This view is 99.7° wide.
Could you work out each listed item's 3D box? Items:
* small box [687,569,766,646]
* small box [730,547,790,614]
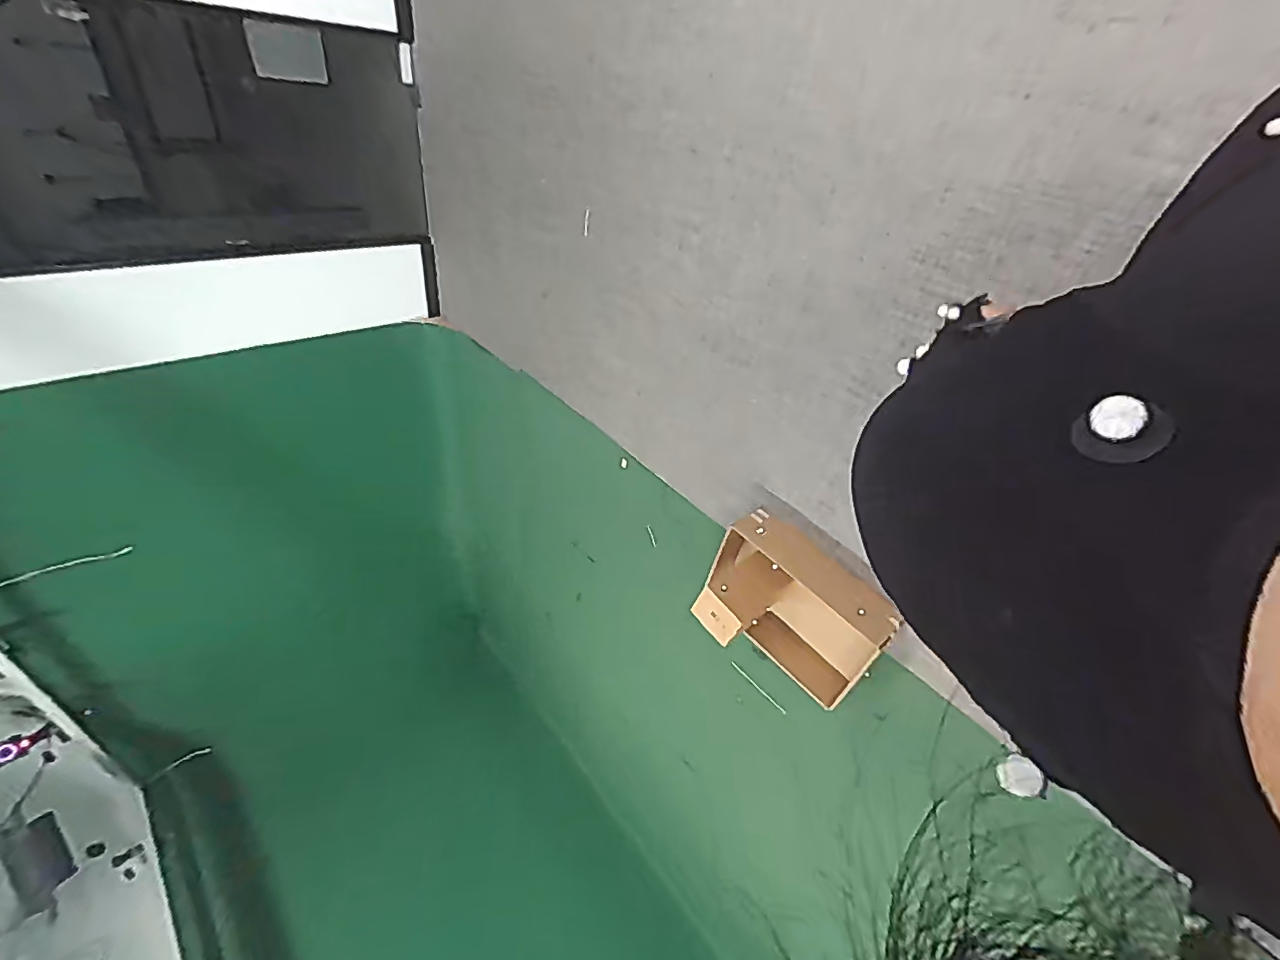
[{"bbox_3d":[0.299,0.430,1.870,0.179,0.176,0.168,45,138,23],"label":"small box"},{"bbox_3d":[0.416,0.379,1.974,0.168,0.176,0.179,45,136,24],"label":"small box"}]
